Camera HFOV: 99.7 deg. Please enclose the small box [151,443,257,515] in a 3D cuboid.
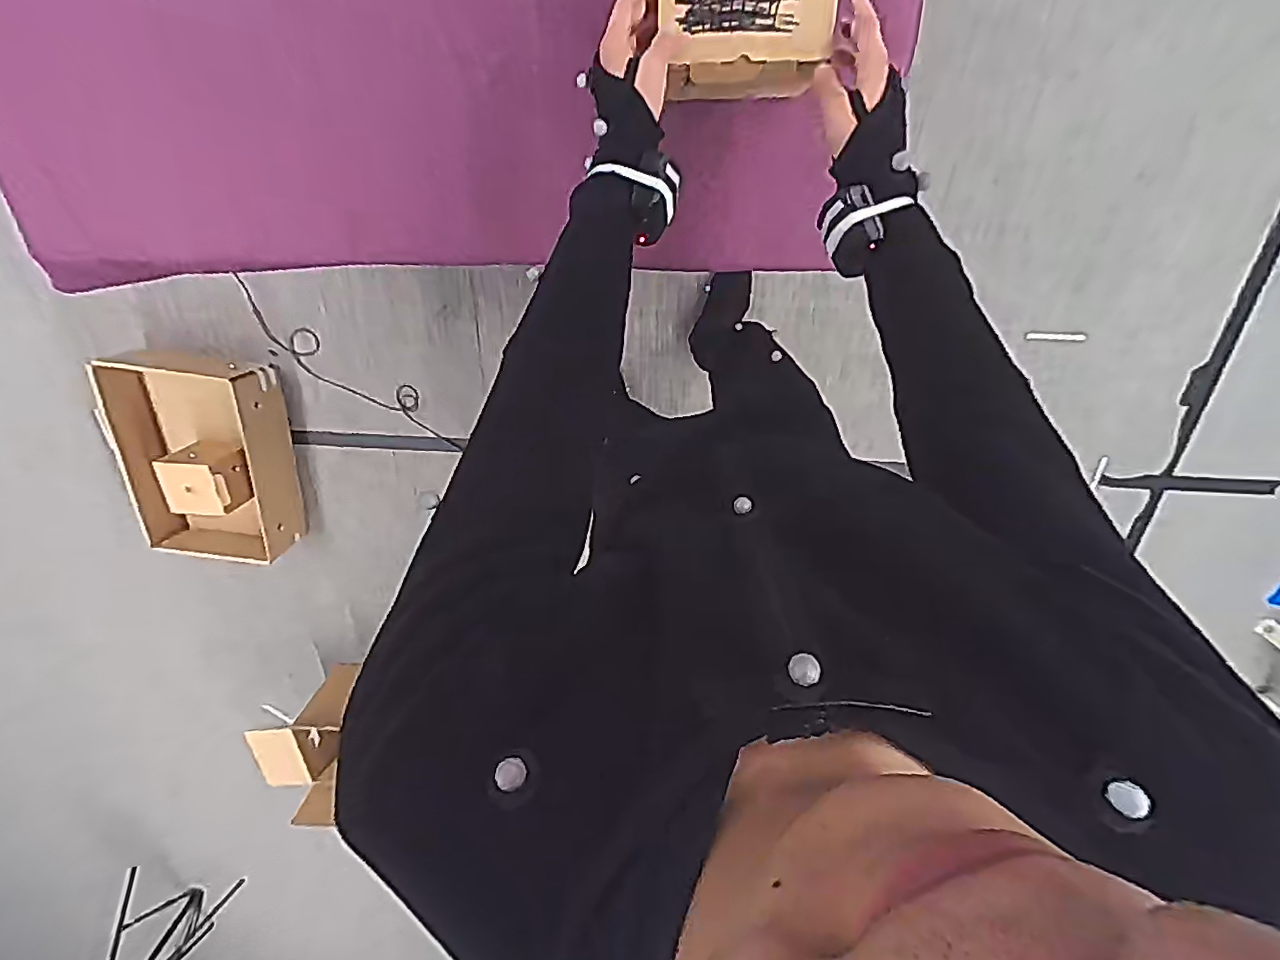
[{"bbox_3d":[-1.310,-0.006,1.644,0.179,0.176,0.168,3,115,2],"label":"small box"}]
